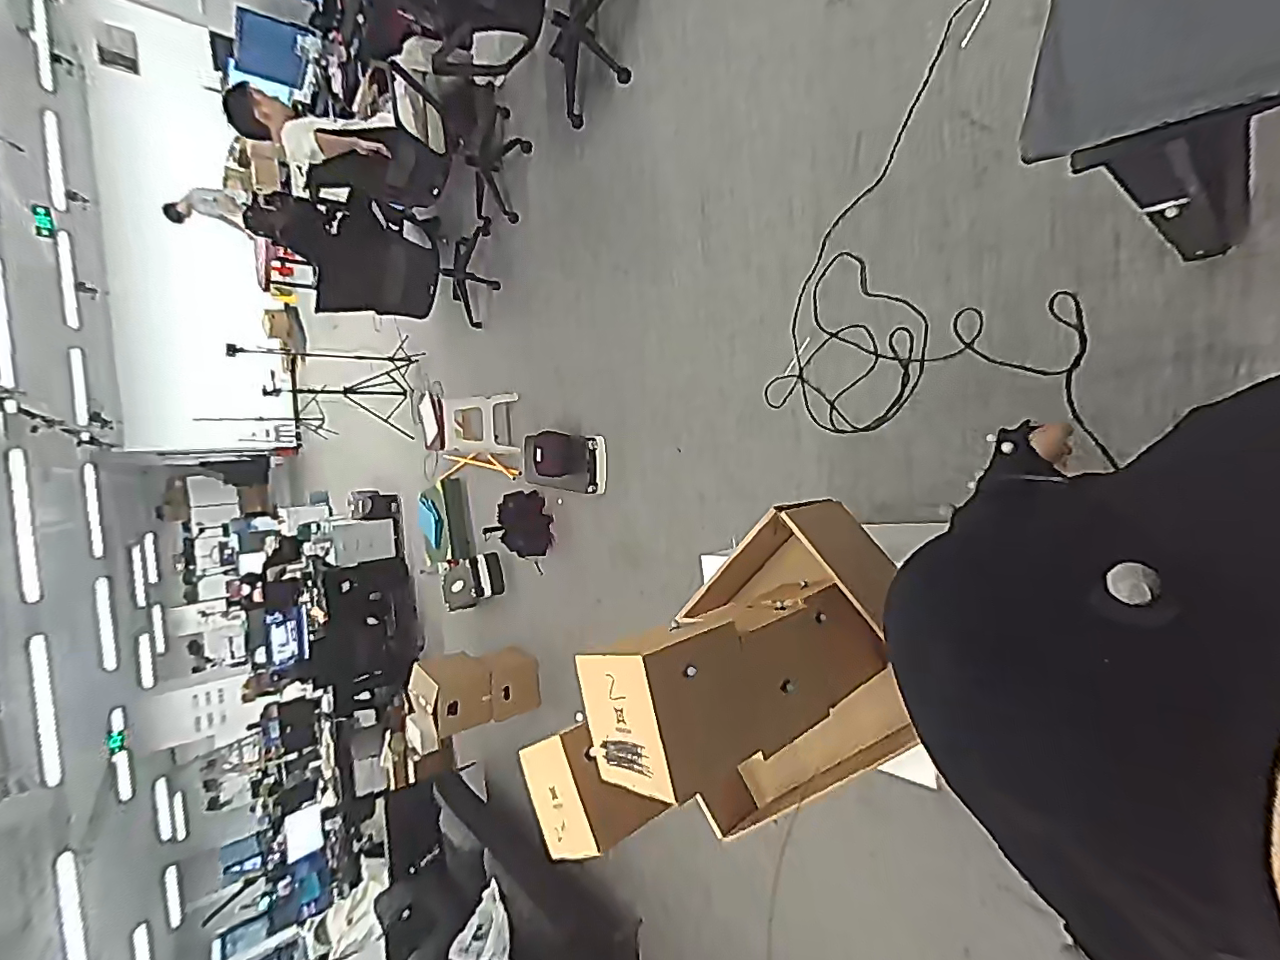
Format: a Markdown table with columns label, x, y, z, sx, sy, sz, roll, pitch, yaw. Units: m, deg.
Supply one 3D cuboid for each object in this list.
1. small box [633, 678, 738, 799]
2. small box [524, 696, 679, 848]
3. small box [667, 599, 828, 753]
| label | x | y | z | sx | sy | sz | roll | pitch | yaw |
| --- | --- | --- | --- | --- | --- | --- | --- | --- | --- |
| small box | 0.053 | 0.487 | 1.034 | 0.179 | 0.176 | 0.168 | -38 | 68 | 44 |
| small box | -0.067 | 0.487 | 0.919 | 0.168 | 0.176 | 0.179 | -44 | 64 | 44 |
| small box | 0.172 | 0.295 | 0.863 | 0.168 | 0.176 | 0.179 | -14 | 87 | 52 |
